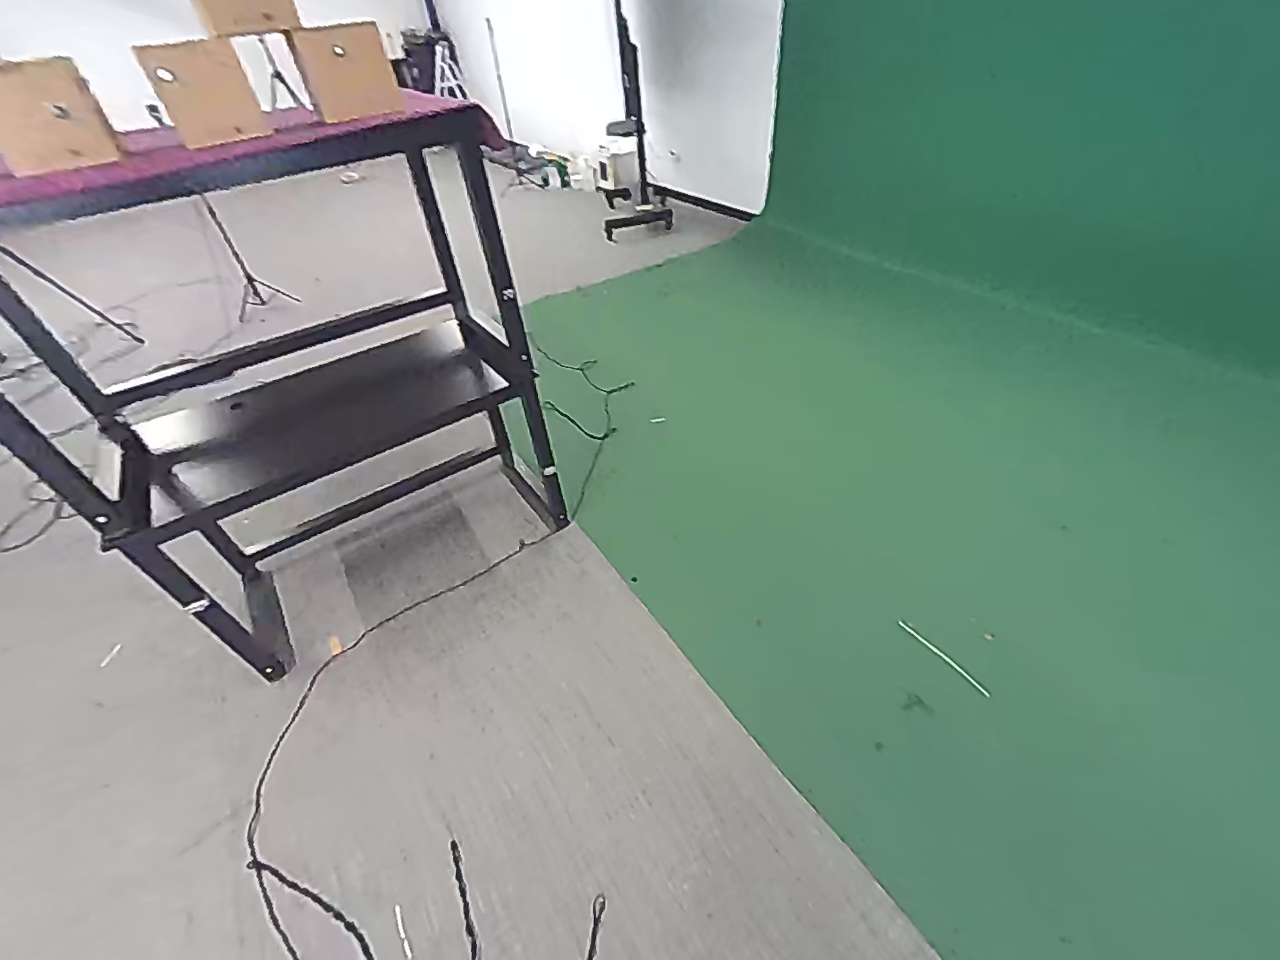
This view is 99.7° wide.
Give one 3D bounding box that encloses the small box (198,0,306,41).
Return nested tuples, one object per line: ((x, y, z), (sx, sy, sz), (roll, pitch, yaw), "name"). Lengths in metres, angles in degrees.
((-0.798, -0.996, 1.079), (0.168, 0.176, 0.179), (-28, 45, -24), "small box")

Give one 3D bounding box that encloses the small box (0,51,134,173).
((-1.117, -0.698, 1.028), (0.168, 0.176, 0.179), (-25, 44, -22), "small box")

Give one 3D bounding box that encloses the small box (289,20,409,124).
((-0.664, -0.932, 1.240), (0.179, 0.176, 0.168), (-27, 45, -22), "small box")
